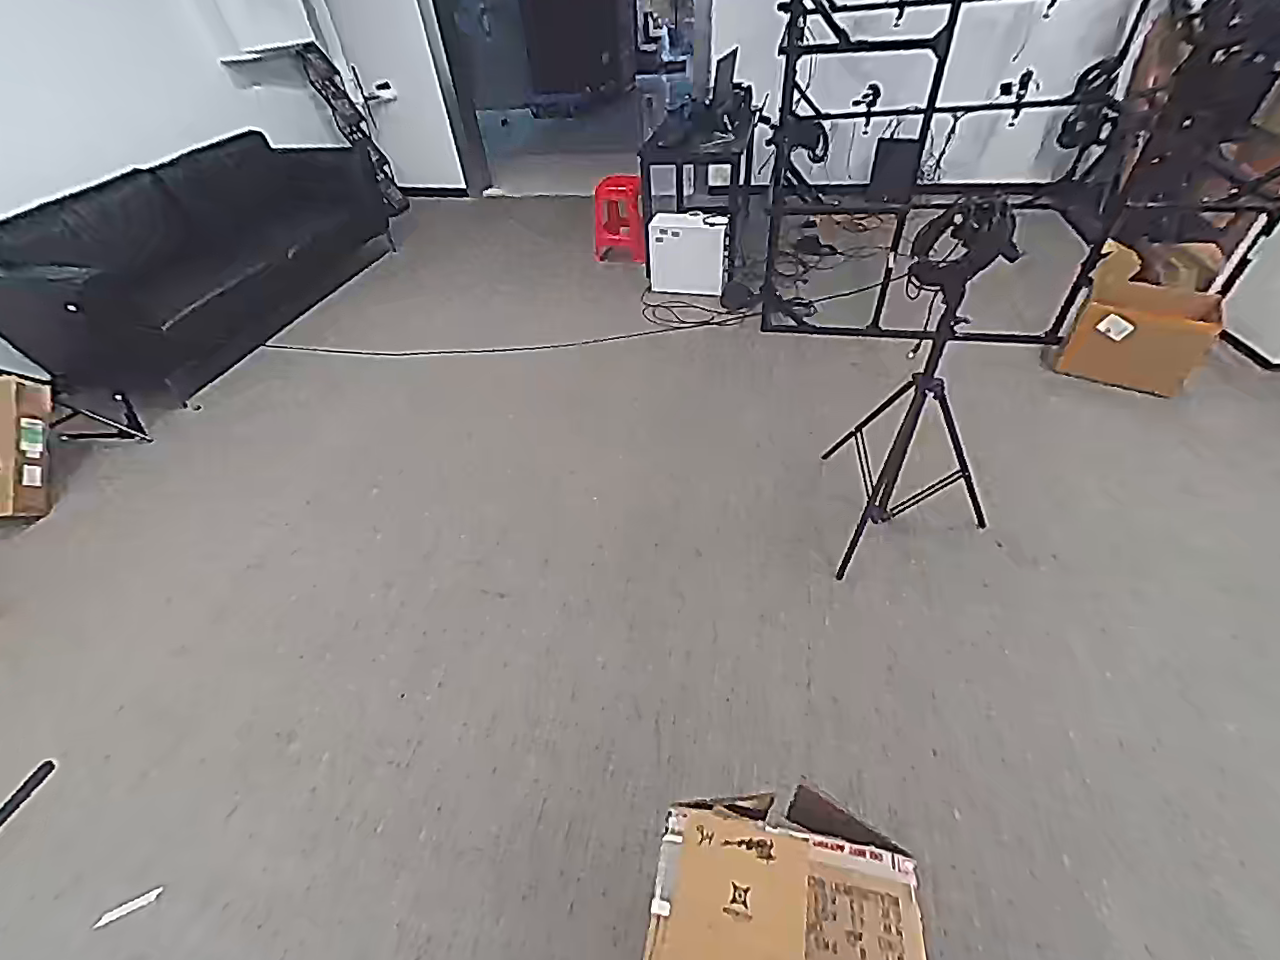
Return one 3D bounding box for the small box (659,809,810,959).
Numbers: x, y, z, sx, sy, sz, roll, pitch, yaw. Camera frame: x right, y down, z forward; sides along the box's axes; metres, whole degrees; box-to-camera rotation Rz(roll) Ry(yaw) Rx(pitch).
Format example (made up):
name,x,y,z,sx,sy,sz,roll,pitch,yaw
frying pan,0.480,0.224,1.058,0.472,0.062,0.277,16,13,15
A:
name,x,y,z,sx,sy,sz,roll,pitch,yaw
small box,0.131,0.579,0.726,0.168,0.176,0.179,7,47,15
